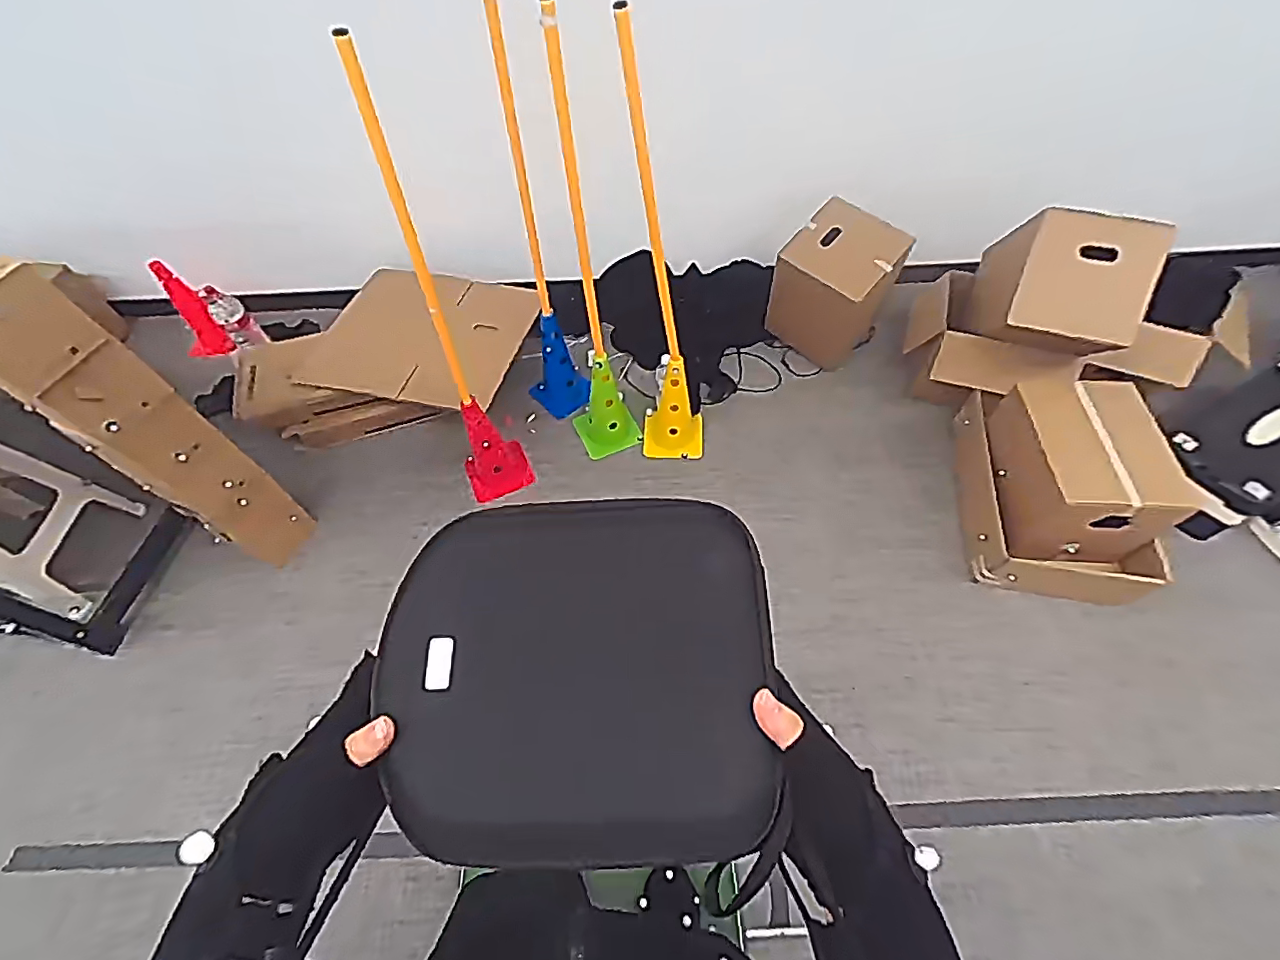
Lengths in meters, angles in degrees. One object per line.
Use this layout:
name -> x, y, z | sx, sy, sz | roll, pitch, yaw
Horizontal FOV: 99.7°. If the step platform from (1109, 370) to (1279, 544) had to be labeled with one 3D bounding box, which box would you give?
step platform -> 1.839, -0.085, 1.680 | 0.684, 0.204, 0.286 | -27, 60, -15
